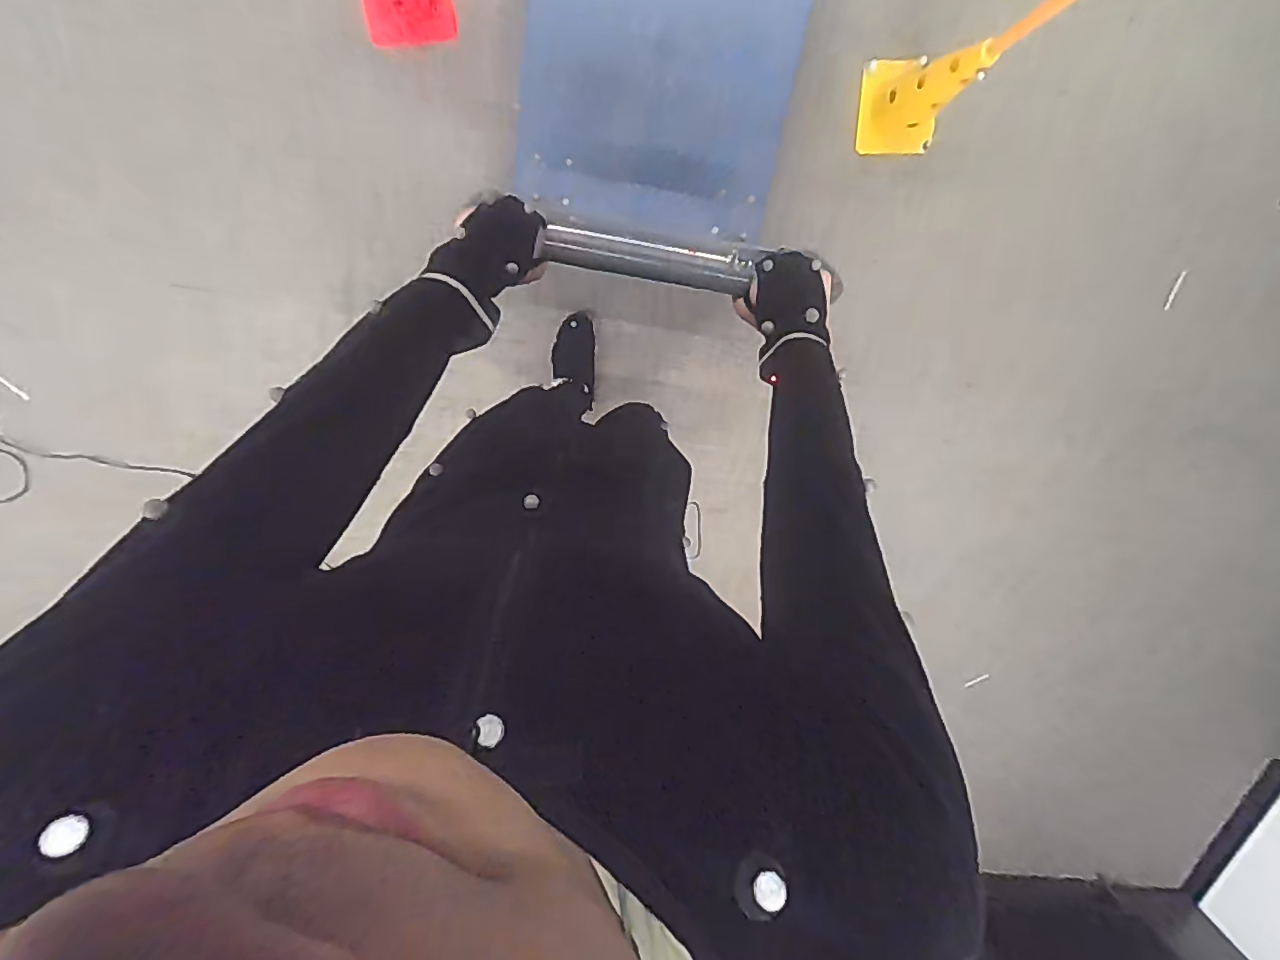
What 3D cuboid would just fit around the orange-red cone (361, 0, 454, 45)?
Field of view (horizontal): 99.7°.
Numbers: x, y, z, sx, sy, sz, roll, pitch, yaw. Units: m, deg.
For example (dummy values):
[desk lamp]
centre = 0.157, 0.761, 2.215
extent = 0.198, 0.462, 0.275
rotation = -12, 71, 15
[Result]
[orange-red cone]
centre = -0.511, -1.026, 1.034
extent = 0.199, 0.360, 0.198
rotation = -5, 110, -1
